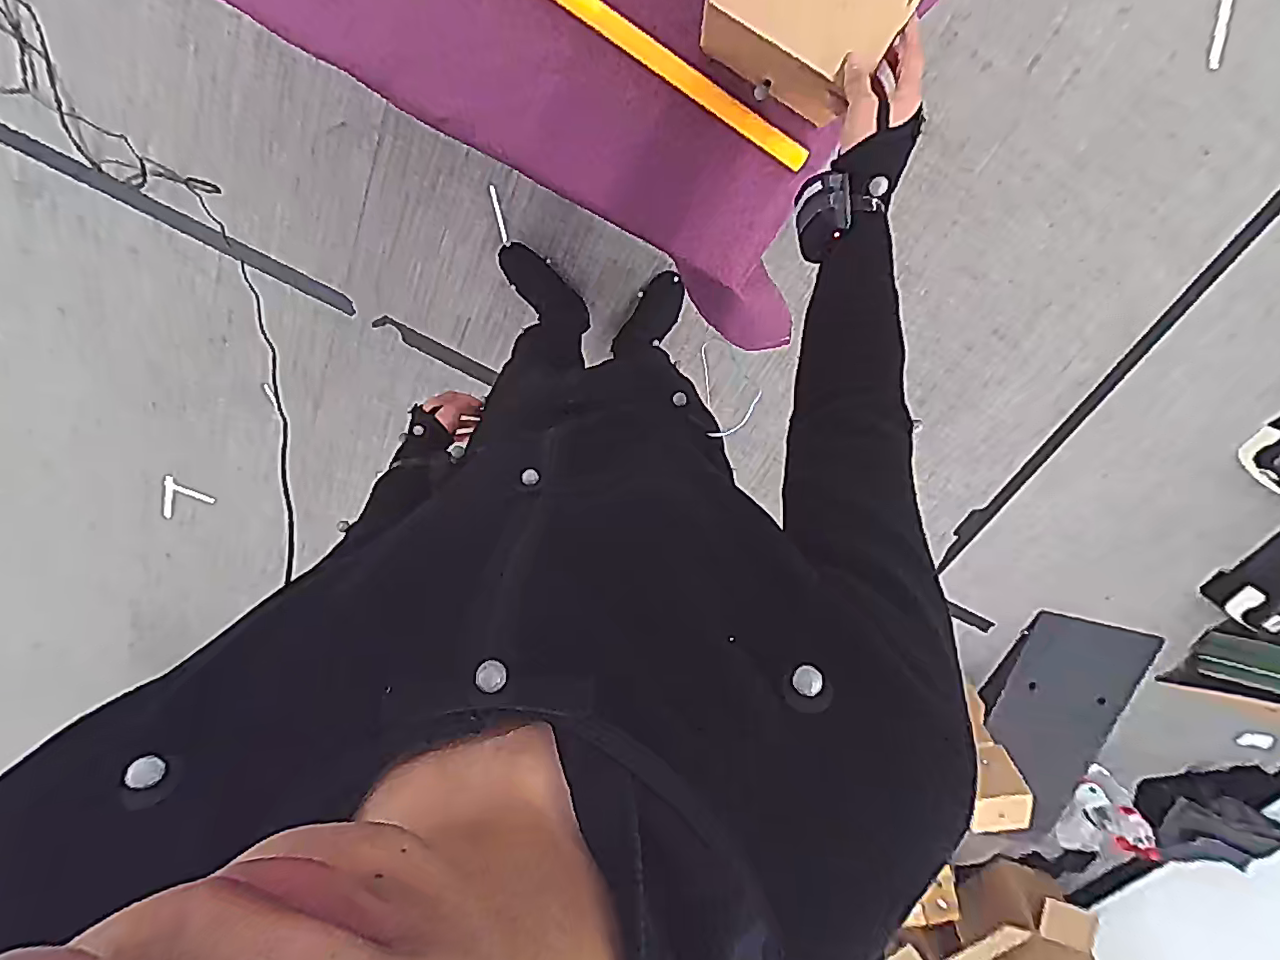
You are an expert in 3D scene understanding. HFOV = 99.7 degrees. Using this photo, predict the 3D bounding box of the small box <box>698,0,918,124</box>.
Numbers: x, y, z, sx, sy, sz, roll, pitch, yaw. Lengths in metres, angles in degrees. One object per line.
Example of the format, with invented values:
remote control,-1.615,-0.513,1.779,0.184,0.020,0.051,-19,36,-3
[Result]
small box,0.175,-0.501,0.560,0.179,0.176,0.168,27,115,-9
